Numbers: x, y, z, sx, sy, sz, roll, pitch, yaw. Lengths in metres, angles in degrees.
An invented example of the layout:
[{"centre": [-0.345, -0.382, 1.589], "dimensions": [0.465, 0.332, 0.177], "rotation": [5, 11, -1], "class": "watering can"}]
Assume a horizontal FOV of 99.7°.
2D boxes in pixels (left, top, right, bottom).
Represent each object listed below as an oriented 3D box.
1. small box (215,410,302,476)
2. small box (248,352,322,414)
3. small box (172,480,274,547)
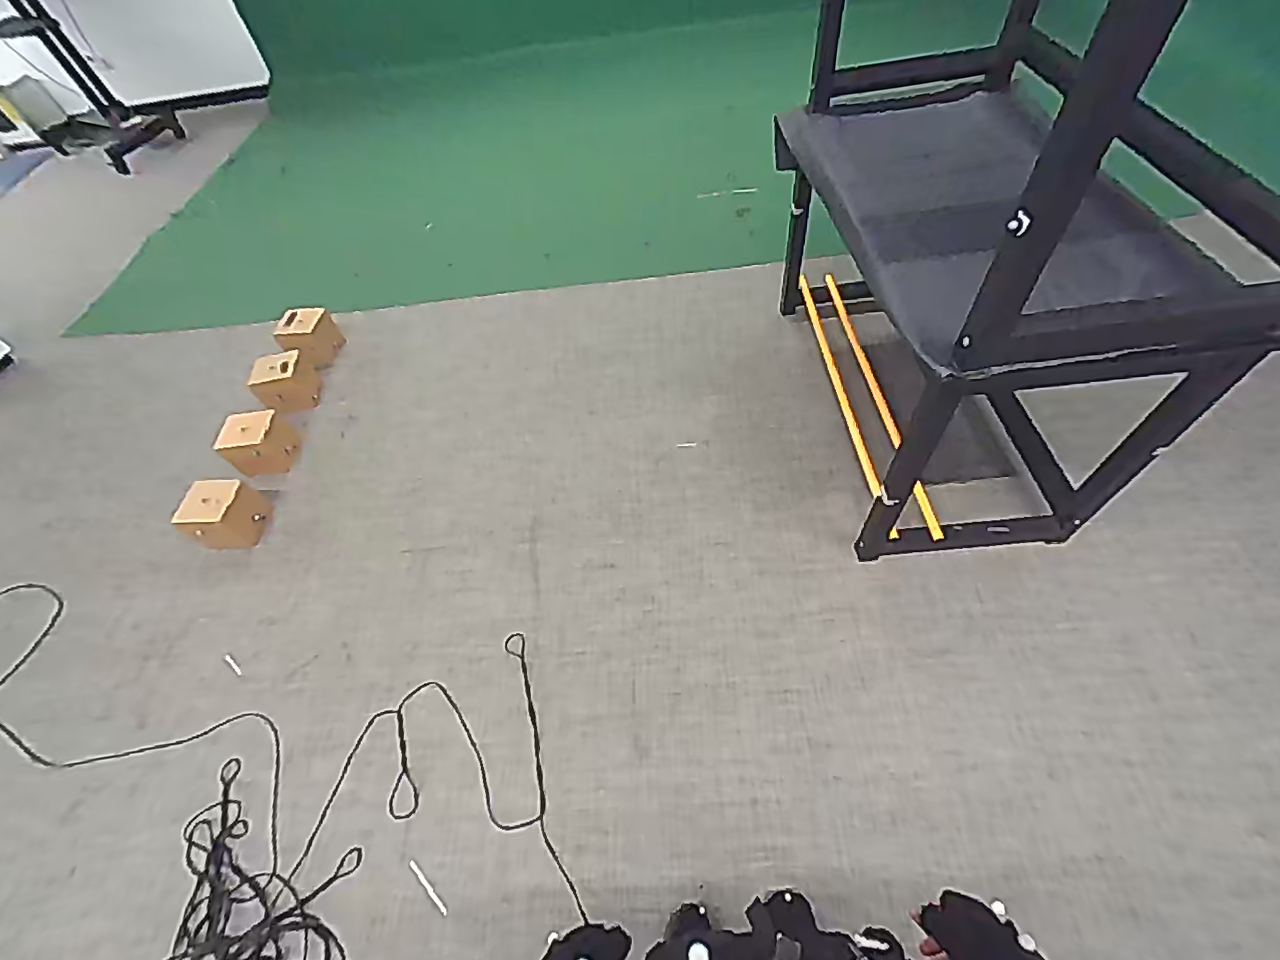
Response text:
[{"centre": [-1.399, -0.131, 1.993], "dimensions": [0.179, 0.176, 0.168], "rotation": [-8, 54, 1], "class": "small box"}, {"centre": [-1.423, -0.387, 2.180], "dimensions": [0.179, 0.176, 0.168], "rotation": [-12, 53, 0], "class": "small box"}, {"centre": [-1.388, 0.116, 1.814], "dimensions": [0.179, 0.176, 0.168], "rotation": [-3, 55, 6], "class": "small box"}]
